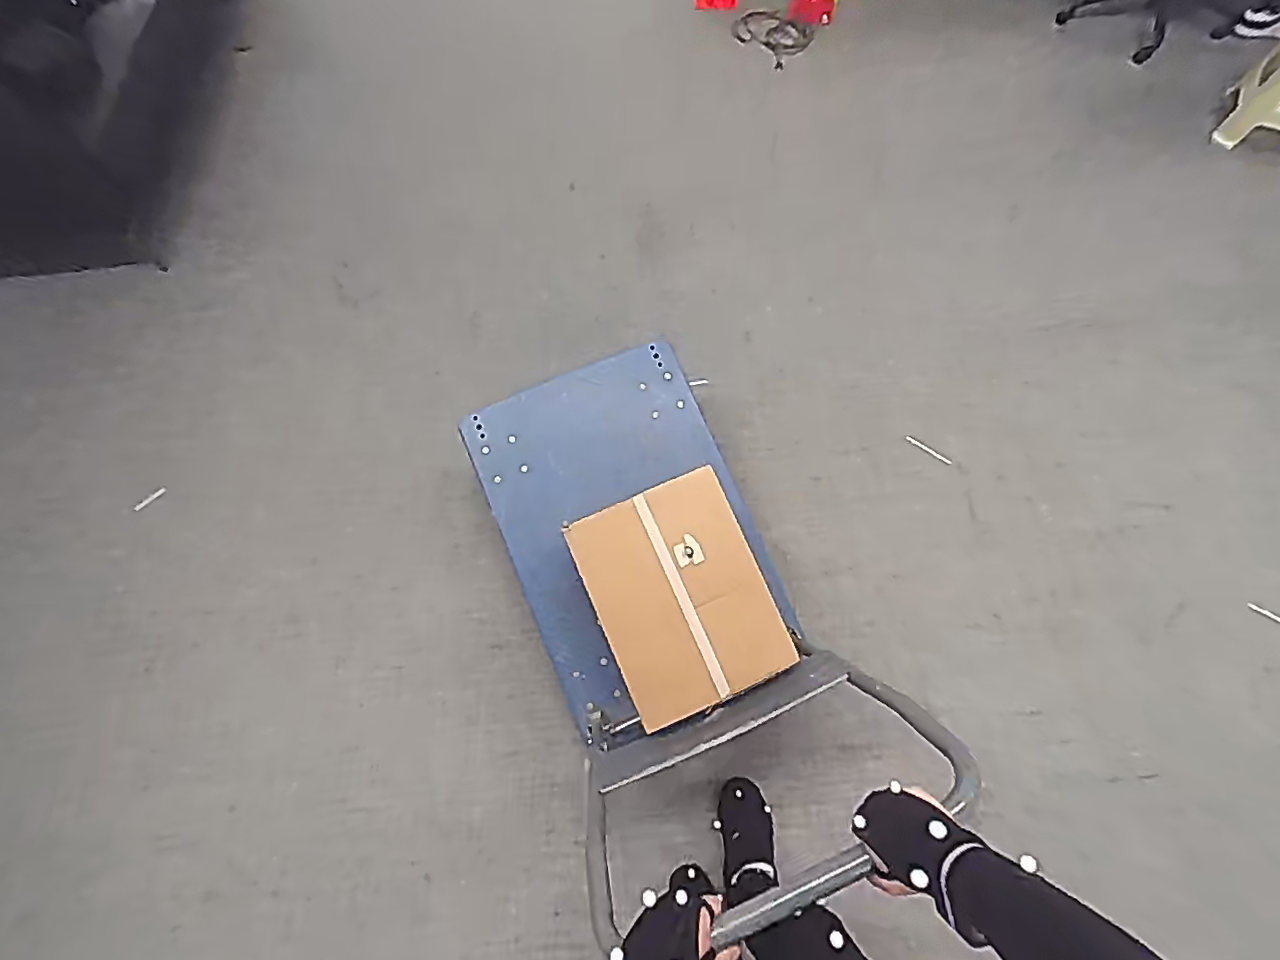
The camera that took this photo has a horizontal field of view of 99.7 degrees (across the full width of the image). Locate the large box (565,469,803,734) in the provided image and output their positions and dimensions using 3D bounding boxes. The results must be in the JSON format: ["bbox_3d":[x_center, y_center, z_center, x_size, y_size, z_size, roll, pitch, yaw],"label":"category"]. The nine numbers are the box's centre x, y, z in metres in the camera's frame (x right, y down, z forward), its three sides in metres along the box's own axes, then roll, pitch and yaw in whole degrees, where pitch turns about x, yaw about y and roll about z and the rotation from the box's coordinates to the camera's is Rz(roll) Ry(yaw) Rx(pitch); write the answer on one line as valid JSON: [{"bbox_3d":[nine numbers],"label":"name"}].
[{"bbox_3d":[0.077,0.240,1.141,0.320,0.320,0.408,-23,82,-6],"label":"large box"}]
